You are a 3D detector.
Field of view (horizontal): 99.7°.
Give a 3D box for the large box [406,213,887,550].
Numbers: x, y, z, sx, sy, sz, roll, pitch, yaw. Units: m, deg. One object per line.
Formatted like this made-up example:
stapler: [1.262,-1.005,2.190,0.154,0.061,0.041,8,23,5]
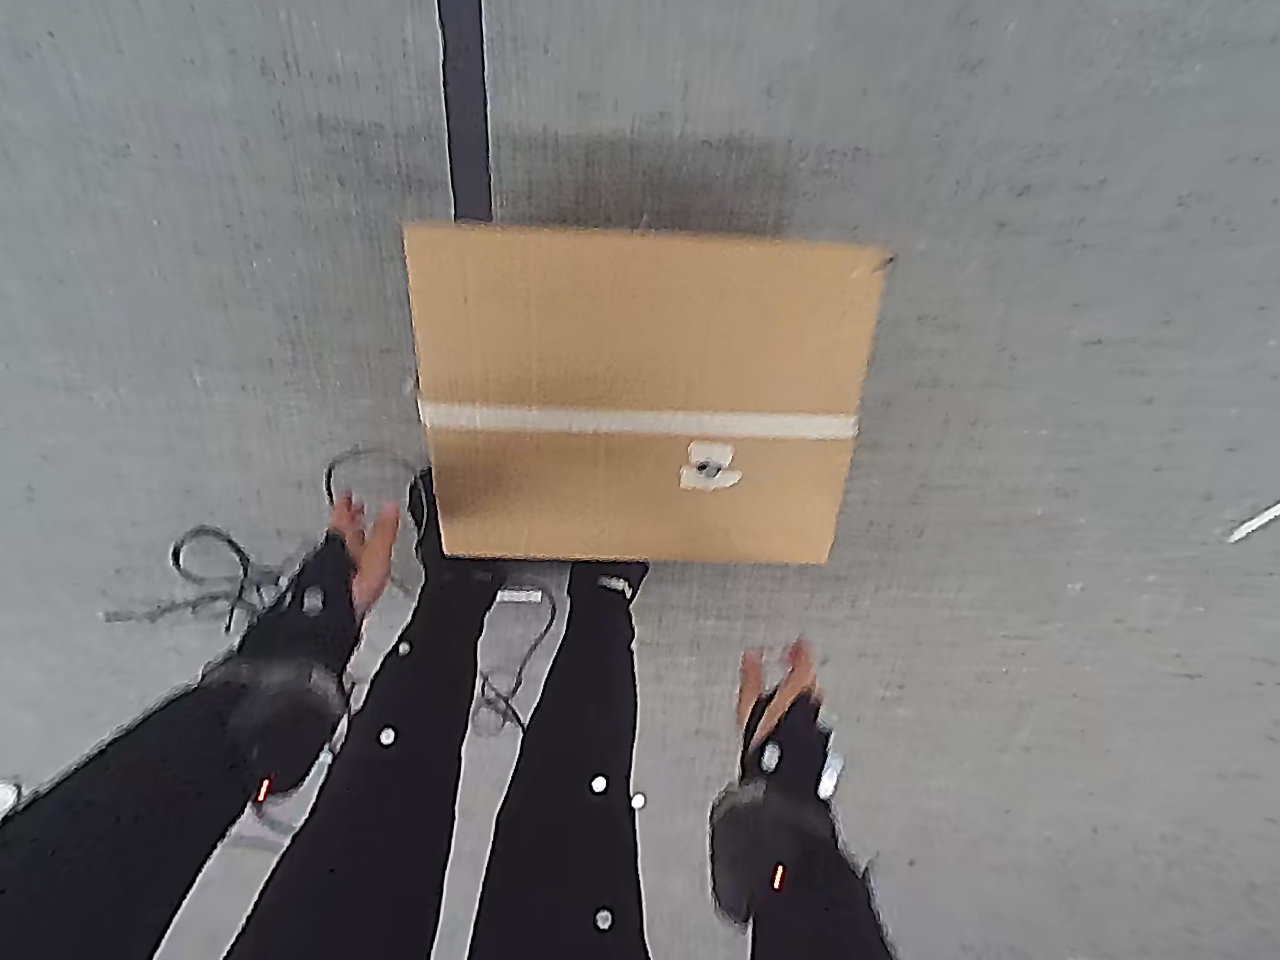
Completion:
large box: [-0.002,-0.128,0.636,0.408,0.320,0.320,2,115,-3]
